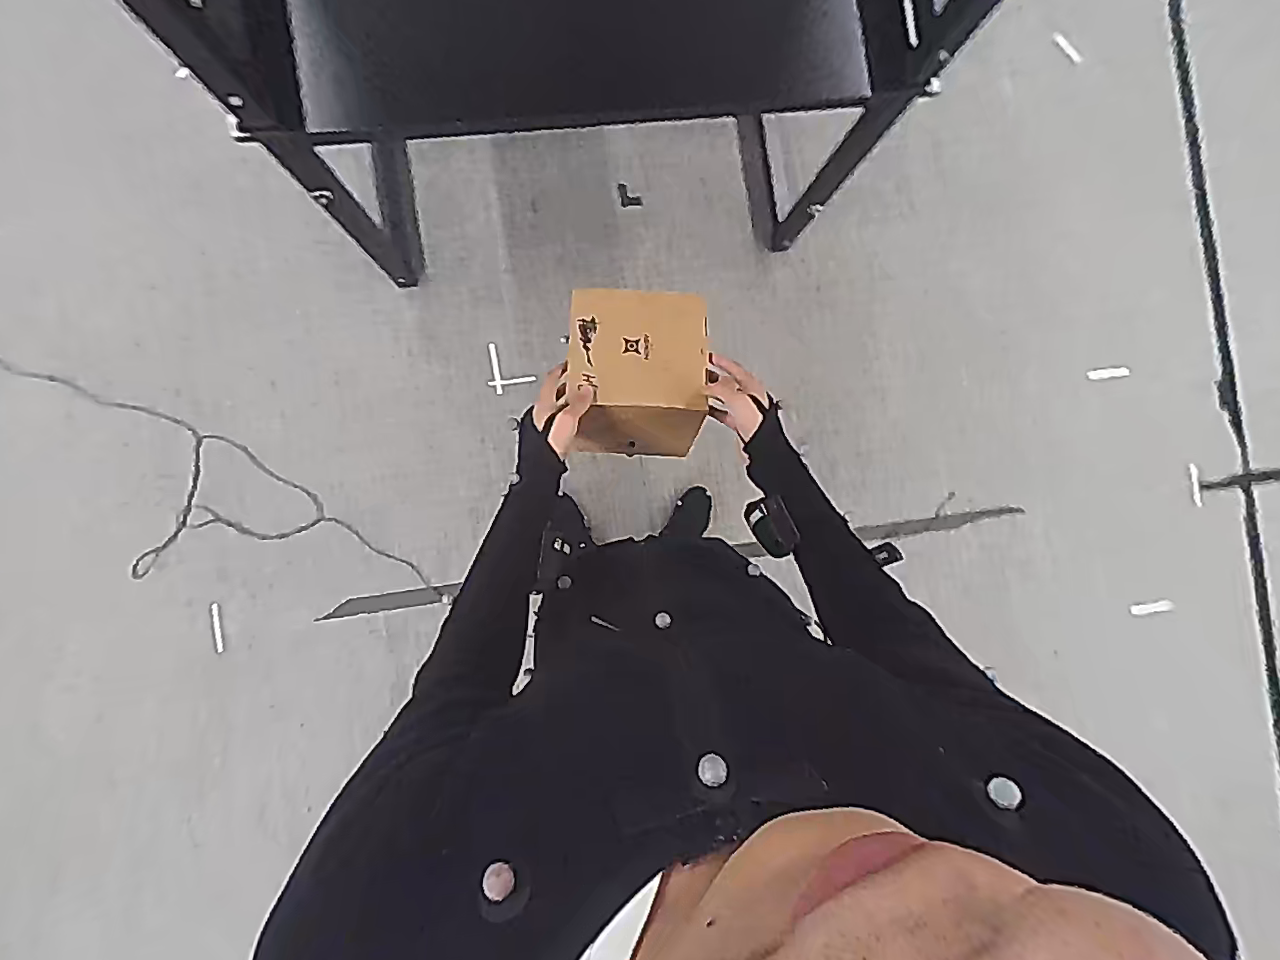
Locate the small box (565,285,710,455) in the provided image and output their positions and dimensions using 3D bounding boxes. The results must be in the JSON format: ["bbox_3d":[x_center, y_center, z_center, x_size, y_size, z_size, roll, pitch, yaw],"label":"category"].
[{"bbox_3d":[-0.008,-0.141,0.748,0.179,0.176,0.168,4,72,-4],"label":"small box"}]
